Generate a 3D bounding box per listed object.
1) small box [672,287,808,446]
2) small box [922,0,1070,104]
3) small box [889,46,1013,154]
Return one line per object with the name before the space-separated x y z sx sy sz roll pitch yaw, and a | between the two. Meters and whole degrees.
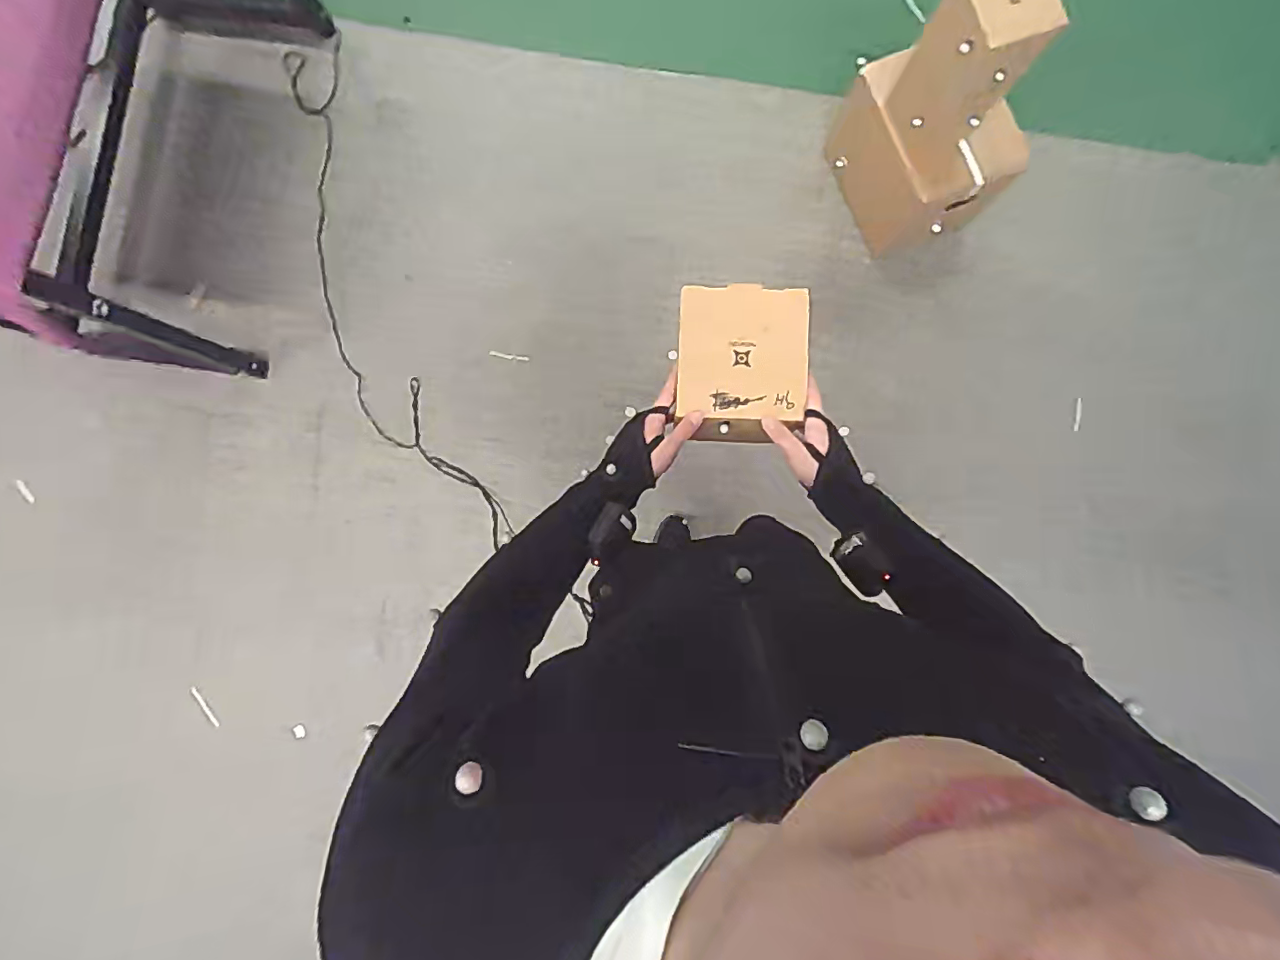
small box | 0.131 -0.150 0.760 0.168 0.176 0.179 2 85 3
small box | 0.732 -0.932 1.131 0.168 0.176 0.179 -19 86 -1
small box | 0.735 -0.922 1.296 0.168 0.176 0.179 -21 86 0
